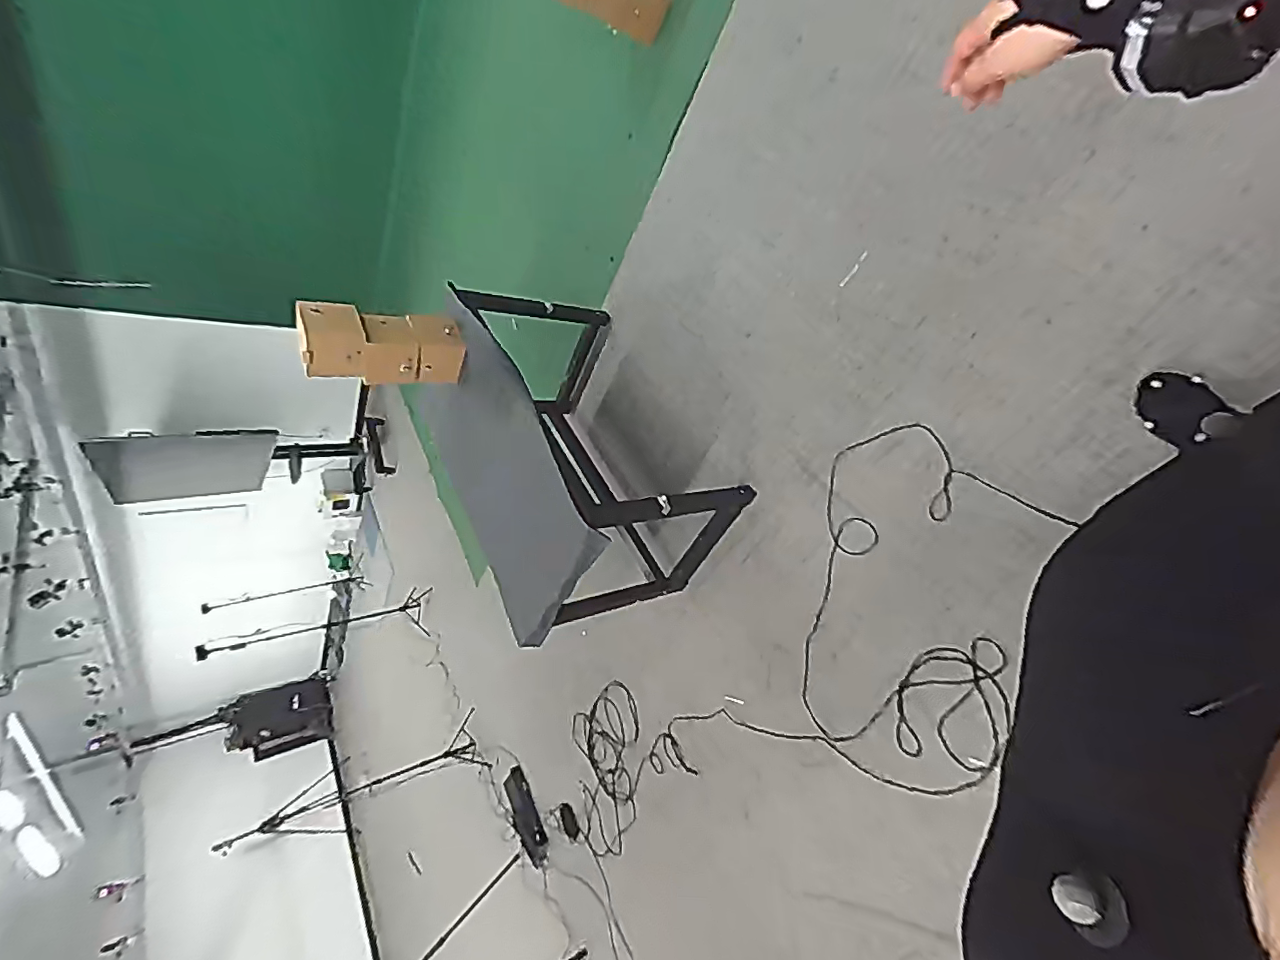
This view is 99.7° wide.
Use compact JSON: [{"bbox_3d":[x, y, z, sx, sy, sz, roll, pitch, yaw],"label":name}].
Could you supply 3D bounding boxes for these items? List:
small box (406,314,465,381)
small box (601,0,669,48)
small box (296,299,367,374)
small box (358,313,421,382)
[{"bbox_3d":[-0.749,-0.473,1.955,0.168,0.176,0.179,60,136,26],"label":"small box"},{"bbox_3d":[-0.013,-1.820,2.075,0.168,0.176,0.179,59,134,27],"label":"small box"},{"bbox_3d":[-0.996,-0.457,1.741,0.179,0.176,0.168,58,137,28],"label":"small box"},{"bbox_3d":[-0.869,-0.449,1.849,0.179,0.176,0.168,53,134,30],"label":"small box"}]
